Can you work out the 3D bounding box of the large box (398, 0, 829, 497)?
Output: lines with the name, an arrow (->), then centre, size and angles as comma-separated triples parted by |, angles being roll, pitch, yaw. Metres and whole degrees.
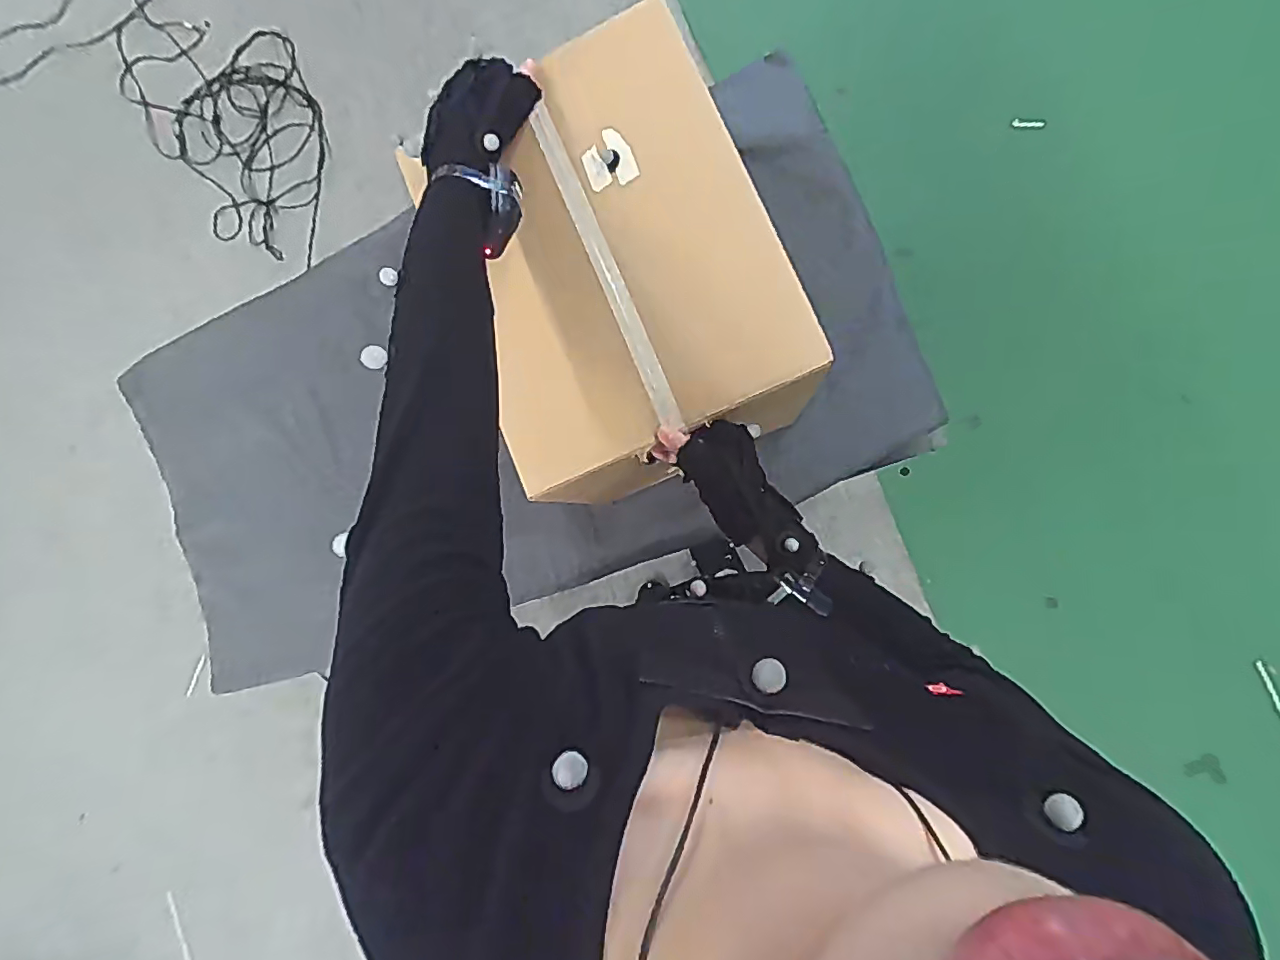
large box -> -0.014, -0.222, 0.668 | 0.320, 0.320, 0.408 | -24, 82, 8
